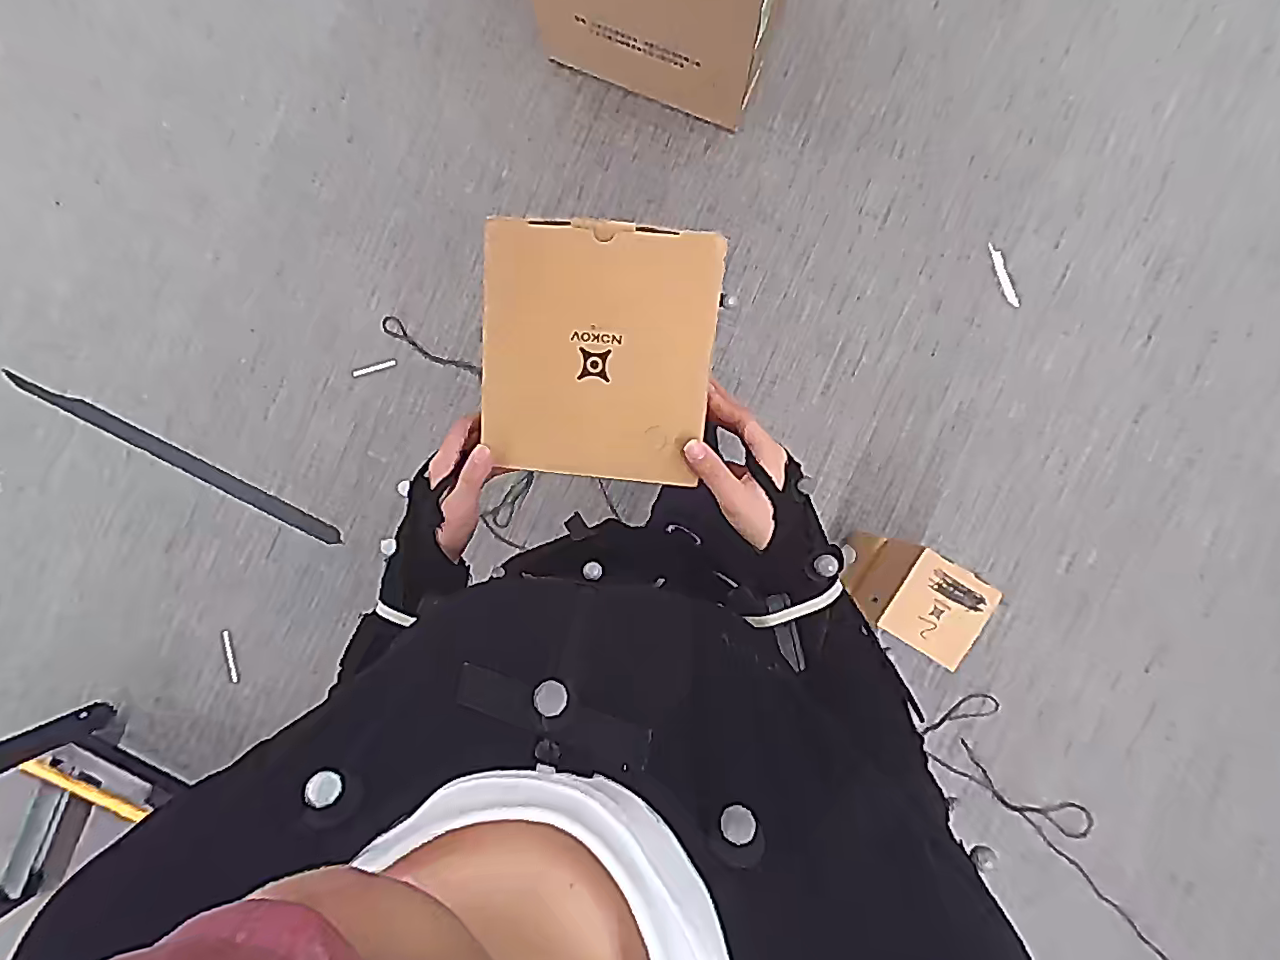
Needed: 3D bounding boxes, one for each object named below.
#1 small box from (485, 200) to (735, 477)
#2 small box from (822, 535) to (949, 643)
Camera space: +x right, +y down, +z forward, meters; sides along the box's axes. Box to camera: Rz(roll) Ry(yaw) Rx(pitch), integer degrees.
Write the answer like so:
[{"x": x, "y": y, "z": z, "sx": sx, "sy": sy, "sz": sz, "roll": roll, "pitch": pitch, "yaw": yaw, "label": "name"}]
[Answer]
[{"x": -0.018, "y": -0.112, "z": 0.450, "sx": 0.168, "sy": 0.176, "sz": 0.179, "roll": 6, "pitch": 103, "yaw": 3, "label": "small box"}, {"x": 0.553, "y": 0.239, "z": 1.241, "sx": 0.179, "sy": 0.176, "sz": 0.168, "roll": 32, "pitch": 91, "yaw": 4, "label": "small box"}]
